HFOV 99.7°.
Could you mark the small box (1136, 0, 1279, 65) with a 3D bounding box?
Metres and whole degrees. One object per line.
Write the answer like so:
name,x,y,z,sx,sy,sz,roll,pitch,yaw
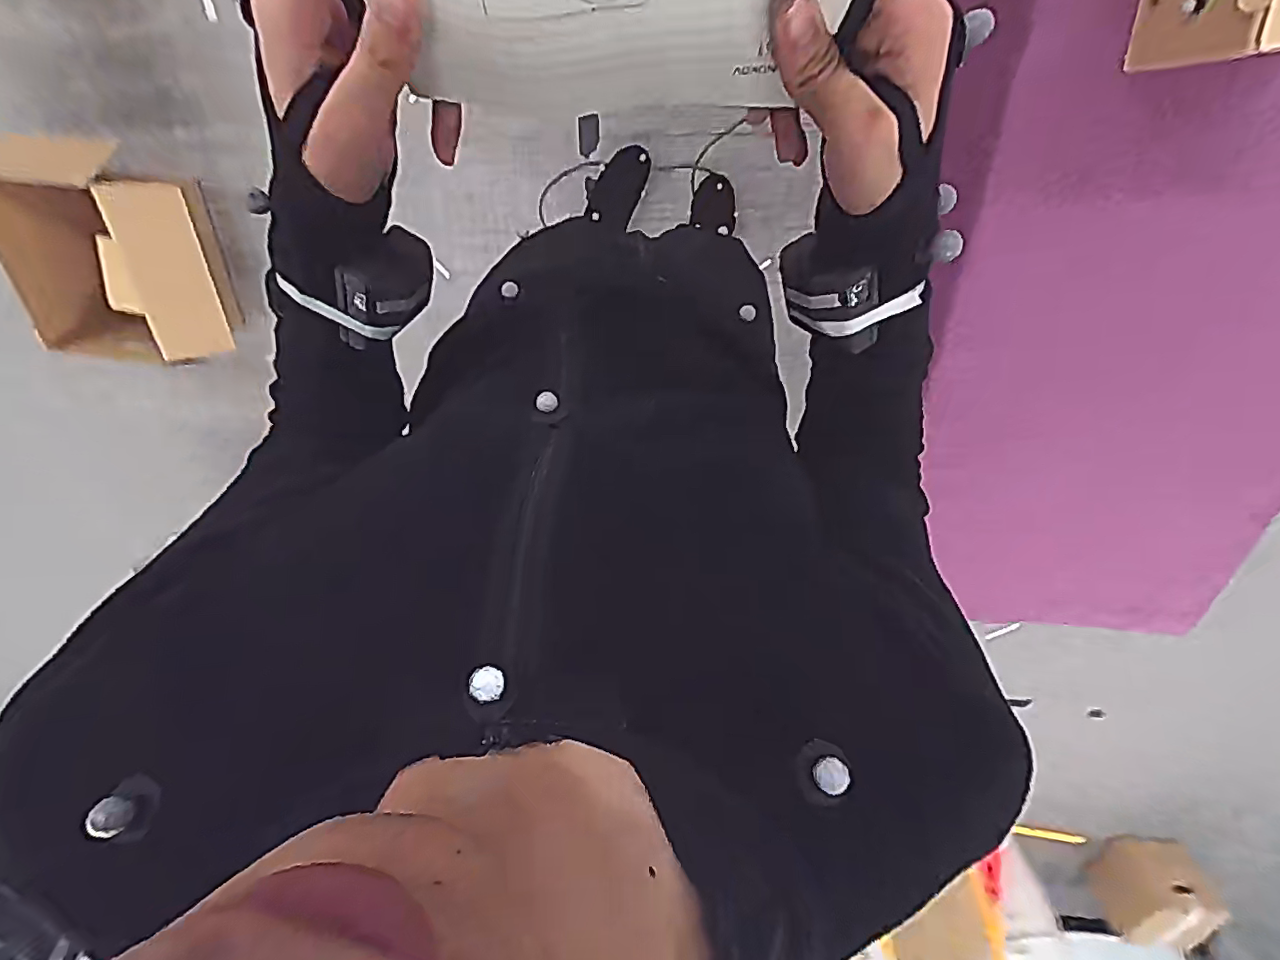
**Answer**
small box,0.608,-0.489,0.478,0.179,0.176,0.168,-5,123,8
